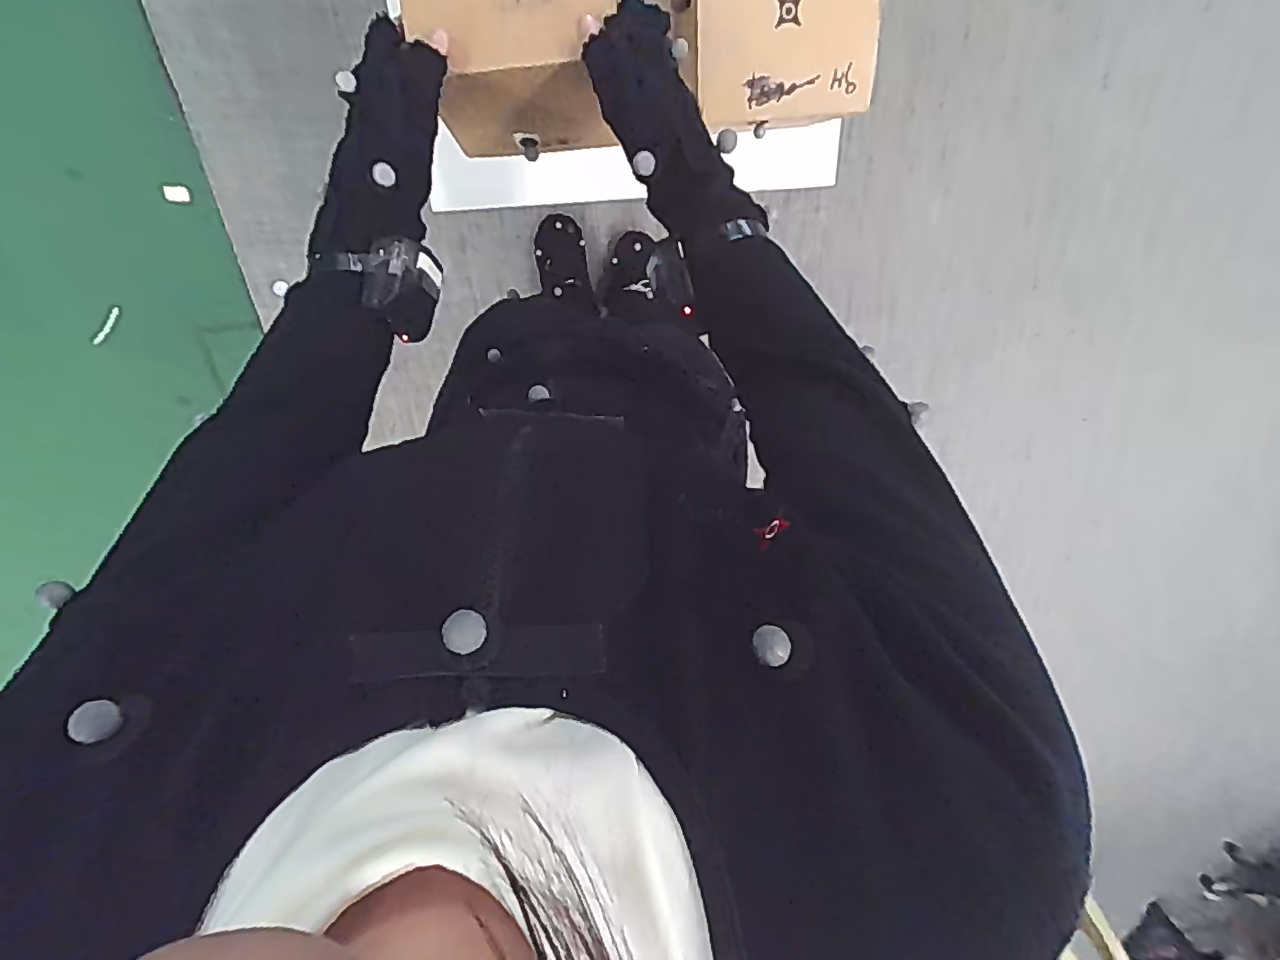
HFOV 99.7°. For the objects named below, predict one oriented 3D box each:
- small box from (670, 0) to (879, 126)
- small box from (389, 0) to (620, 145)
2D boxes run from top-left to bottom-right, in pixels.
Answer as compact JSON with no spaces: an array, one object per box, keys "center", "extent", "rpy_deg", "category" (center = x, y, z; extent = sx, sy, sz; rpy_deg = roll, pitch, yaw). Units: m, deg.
[{"center":[0.121,-0.464,0.532],"extent":[0.168,0.176,0.179],"rpy_deg":[-5,119,-2],"category":"small box"},{"center":[-0.109,-0.420,0.459],"extent":[0.168,0.176,0.179],"rpy_deg":[-7,102,0],"category":"small box"}]
